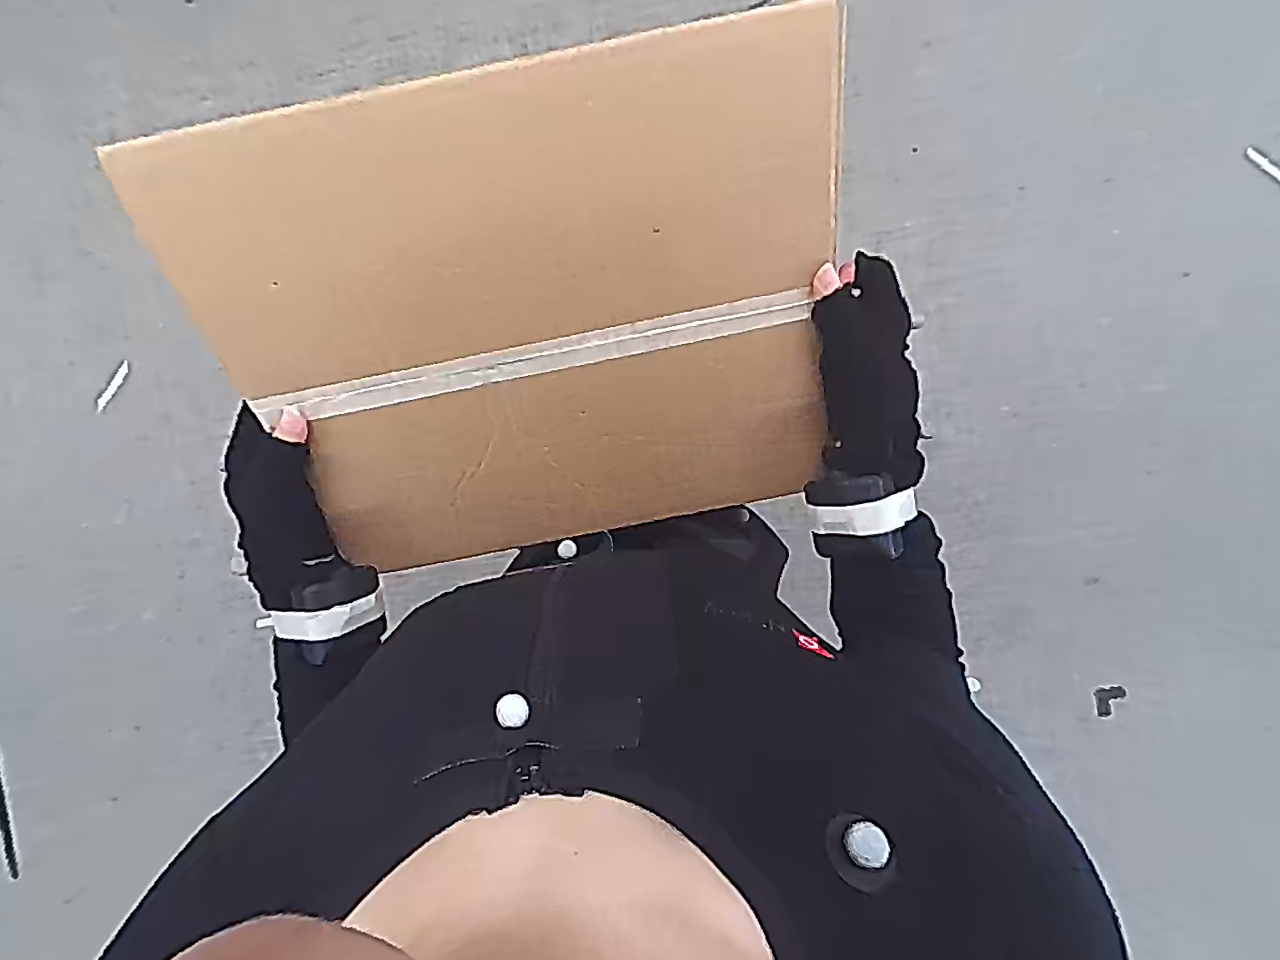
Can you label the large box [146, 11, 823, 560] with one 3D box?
[{"bbox_3d":[-0.077,-0.174,0.509,0.408,0.320,0.320,-11,122,1],"label":"large box"}]
